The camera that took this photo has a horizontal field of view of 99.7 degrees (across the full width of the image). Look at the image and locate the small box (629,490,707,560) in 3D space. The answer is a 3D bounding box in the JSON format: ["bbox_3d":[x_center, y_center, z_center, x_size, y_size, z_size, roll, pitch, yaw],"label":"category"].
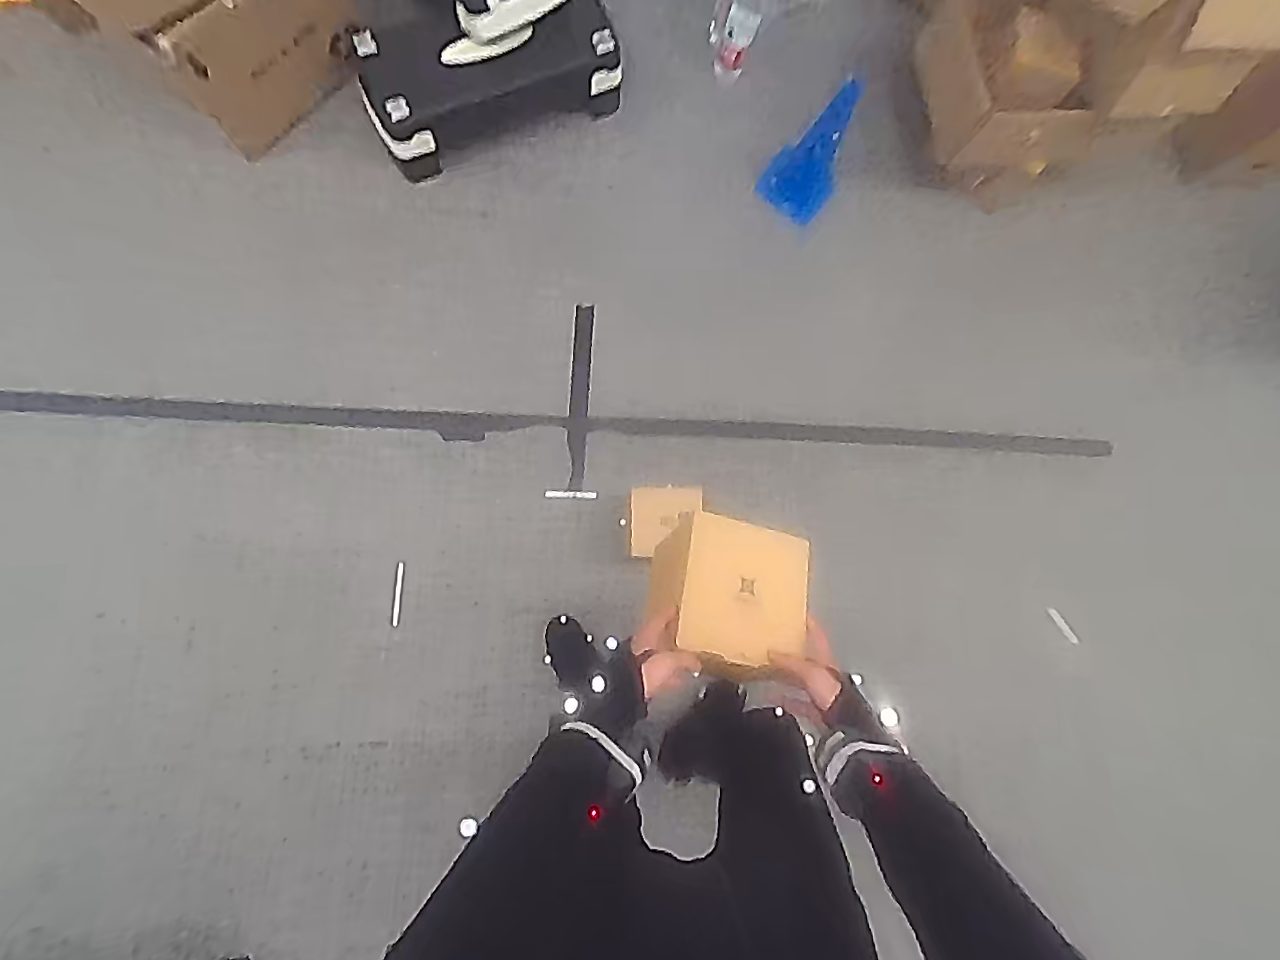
[{"bbox_3d":[0.066,0.116,1.360,0.179,0.176,0.168,0,82,-5],"label":"small box"}]

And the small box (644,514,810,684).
[{"bbox_3d":[0.113,0.171,0.738,0.168,0.176,0.179,15,65,-10],"label":"small box"}]
